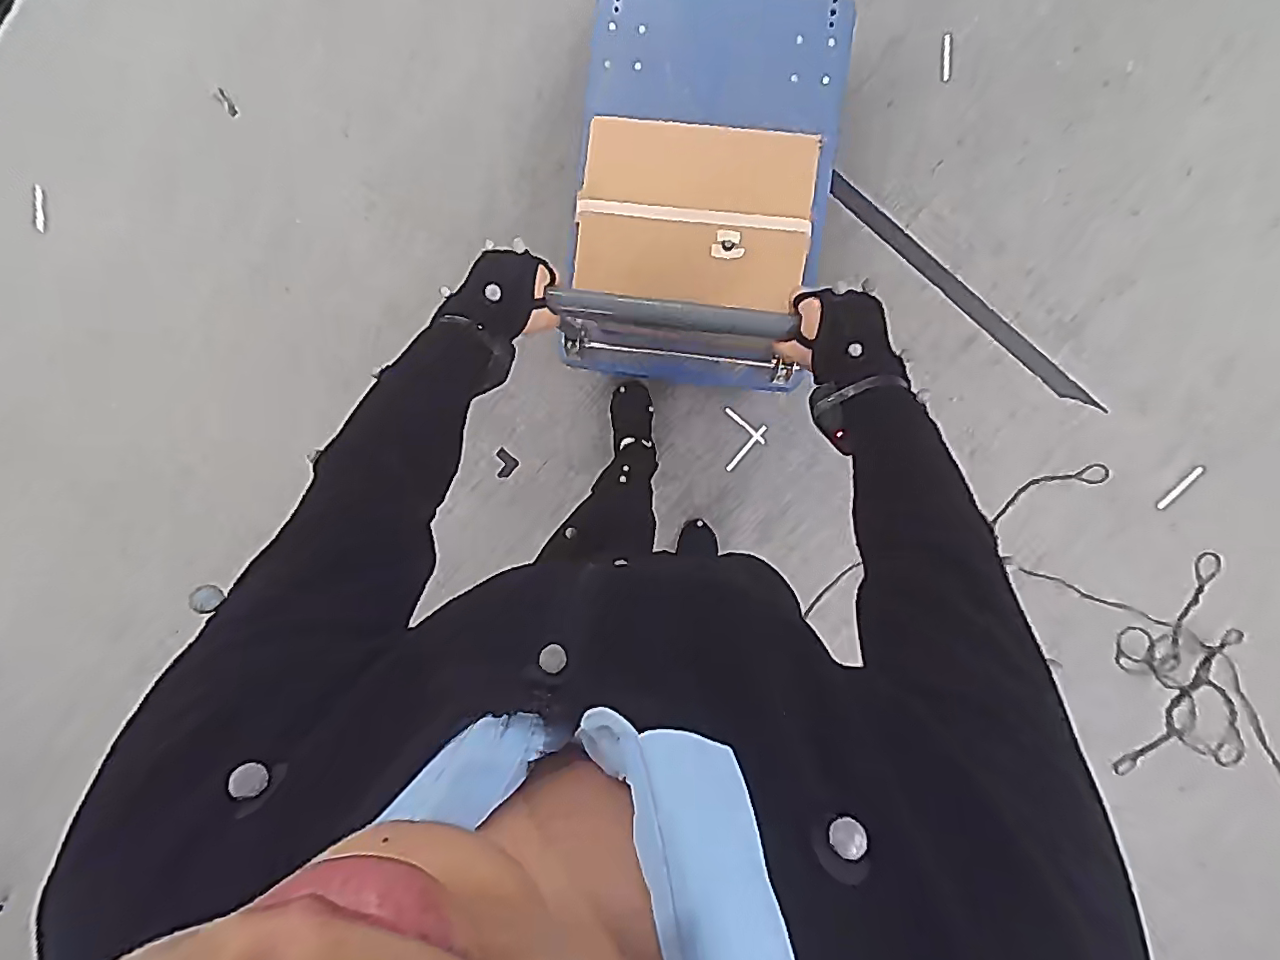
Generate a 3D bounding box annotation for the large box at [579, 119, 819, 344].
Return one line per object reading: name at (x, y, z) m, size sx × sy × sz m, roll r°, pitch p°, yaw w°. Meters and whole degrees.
large box at (0.106, -0.476, 1.105) m, size 0.408 × 0.320 × 0.320 m, roll 7°, pitch 95°, yaw 3°
